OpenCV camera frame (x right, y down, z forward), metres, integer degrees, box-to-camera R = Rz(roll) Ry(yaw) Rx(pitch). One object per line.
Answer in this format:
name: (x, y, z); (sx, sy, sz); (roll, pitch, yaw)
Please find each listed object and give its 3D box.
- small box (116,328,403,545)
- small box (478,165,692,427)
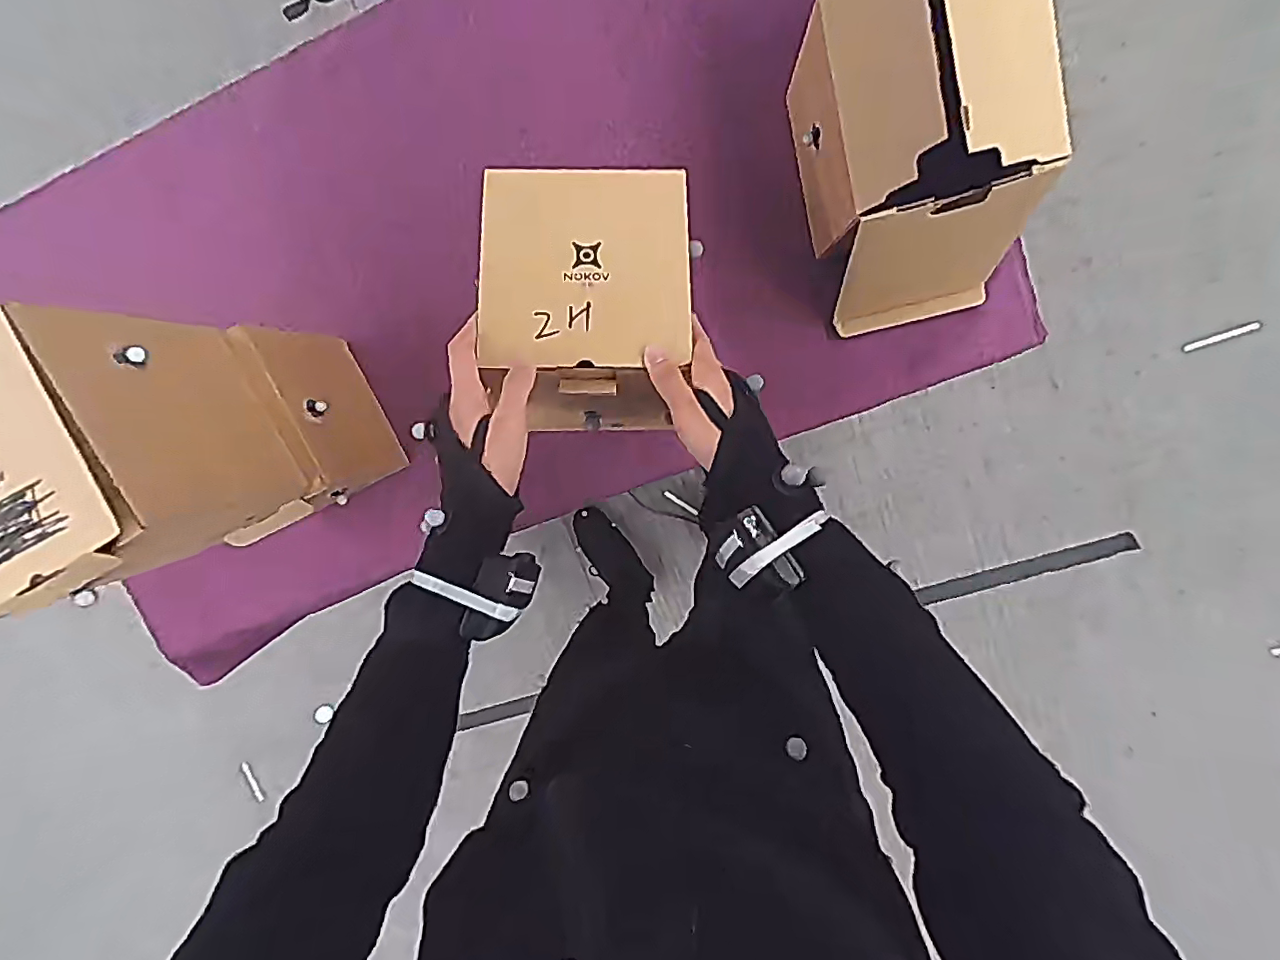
small box: (-0.409, -0.054, 0.616); (0.168, 0.176, 0.179); (-23, 97, 9)
small box: (-0.044, -0.157, 0.504); (0.168, 0.176, 0.179); (-1, 80, -1)
